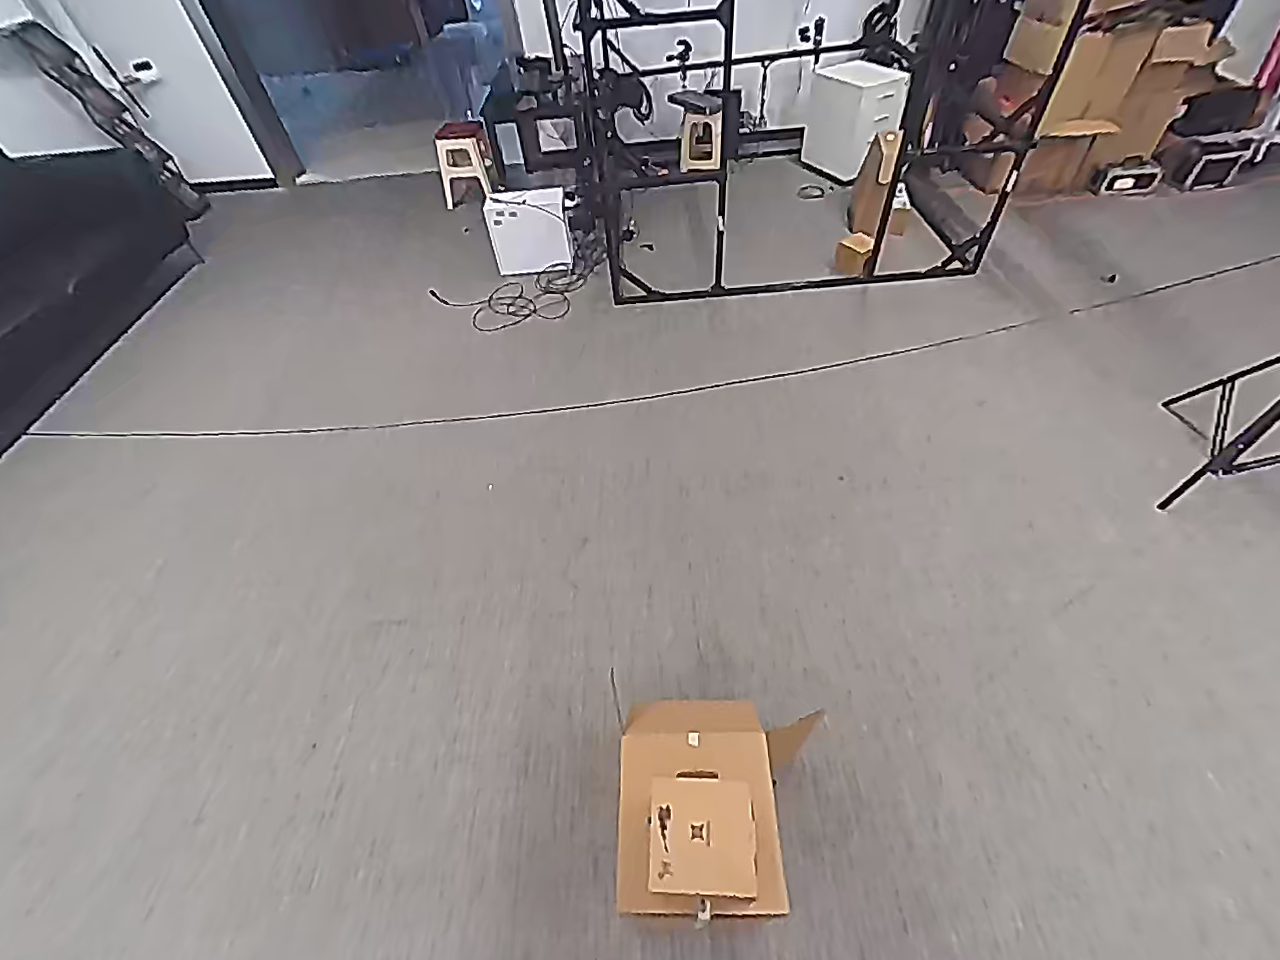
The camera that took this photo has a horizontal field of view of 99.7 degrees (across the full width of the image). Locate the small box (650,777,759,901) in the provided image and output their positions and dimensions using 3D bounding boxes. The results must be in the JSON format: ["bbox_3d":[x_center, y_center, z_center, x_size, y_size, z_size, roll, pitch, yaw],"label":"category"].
[{"bbox_3d":[0.112,0.649,0.975,0.179,0.176,0.168,0,50,5],"label":"small box"}]
